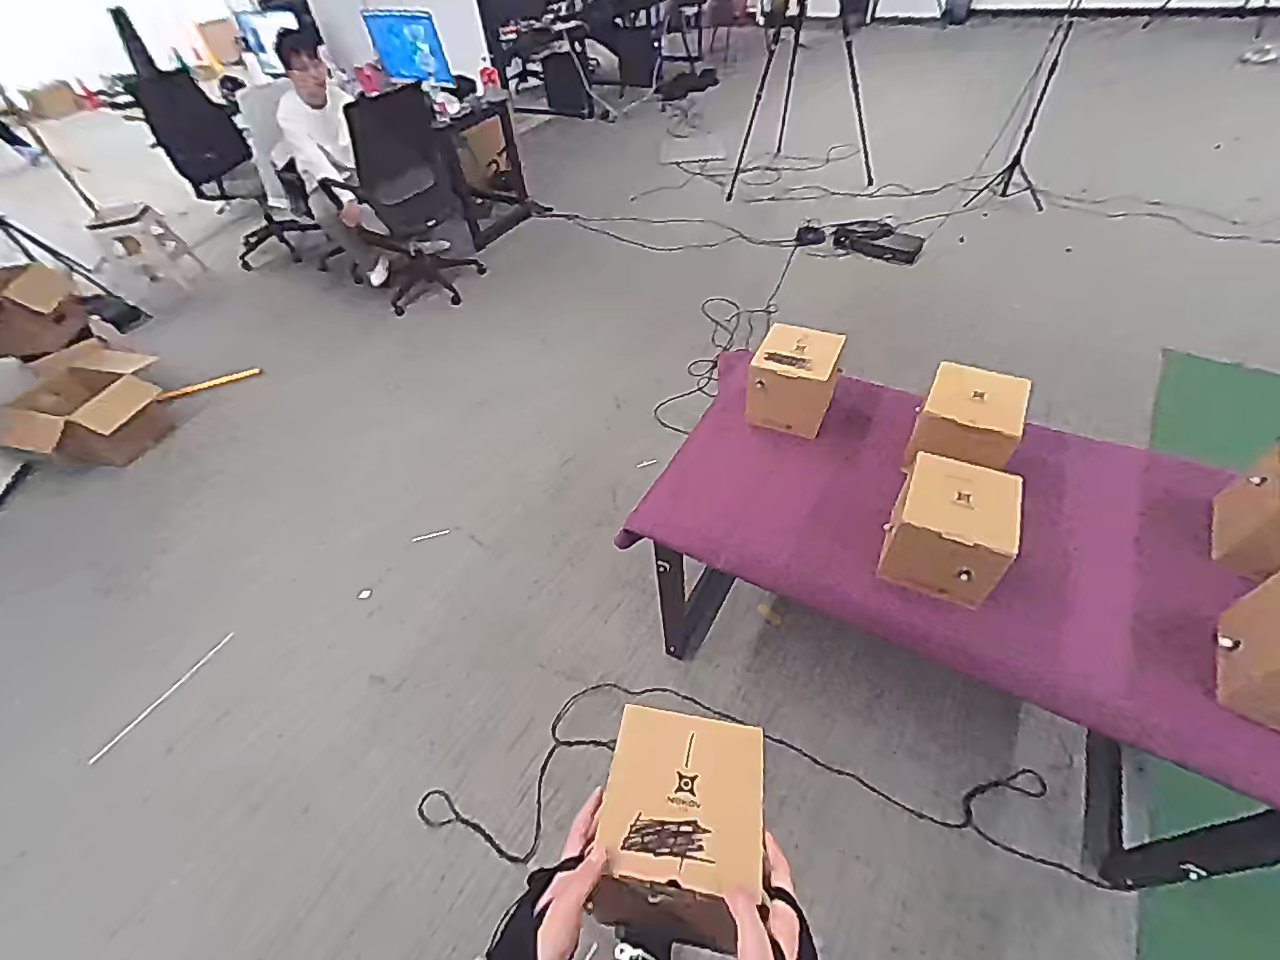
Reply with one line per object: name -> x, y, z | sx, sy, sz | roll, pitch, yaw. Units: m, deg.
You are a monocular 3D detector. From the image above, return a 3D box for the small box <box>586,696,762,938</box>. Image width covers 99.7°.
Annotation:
small box -> 0.045, 0.382, 0.616 | 0.168, 0.176, 0.179 | 6, 38, 9

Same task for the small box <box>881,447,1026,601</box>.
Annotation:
small box -> 0.529, 0.077, 0.927 | 0.168, 0.176, 0.179 | 18, 52, 21

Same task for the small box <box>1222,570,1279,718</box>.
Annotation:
small box -> 0.948, 0.238, 0.730 | 0.168, 0.176, 0.179 | 25, 55, 27

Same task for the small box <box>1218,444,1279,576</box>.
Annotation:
small box -> 1.097, 0.055, 0.875 | 0.168, 0.176, 0.179 | 25, 57, 27

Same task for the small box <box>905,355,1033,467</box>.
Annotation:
small box -> 0.652, -0.117, 1.085 | 0.168, 0.176, 0.179 | 20, 55, 22
